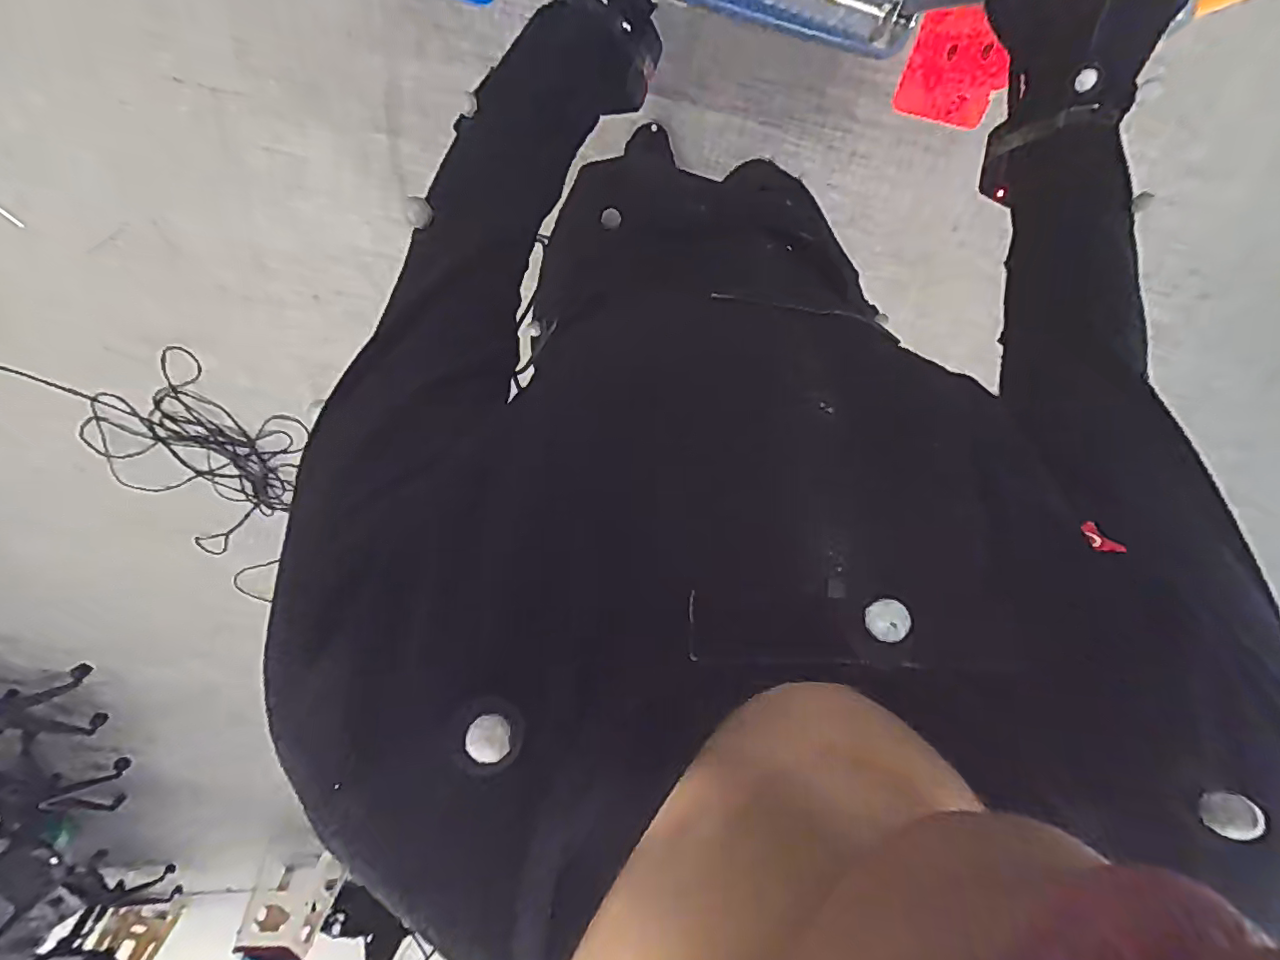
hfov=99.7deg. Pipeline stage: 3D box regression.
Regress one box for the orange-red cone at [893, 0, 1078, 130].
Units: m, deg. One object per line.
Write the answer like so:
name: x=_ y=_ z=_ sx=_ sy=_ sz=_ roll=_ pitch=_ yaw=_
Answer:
orange-red cone: x=0.635 y=-0.742 z=0.950 sx=0.199 sy=0.360 sz=0.198 roll=11 pitch=124 yaw=-6
